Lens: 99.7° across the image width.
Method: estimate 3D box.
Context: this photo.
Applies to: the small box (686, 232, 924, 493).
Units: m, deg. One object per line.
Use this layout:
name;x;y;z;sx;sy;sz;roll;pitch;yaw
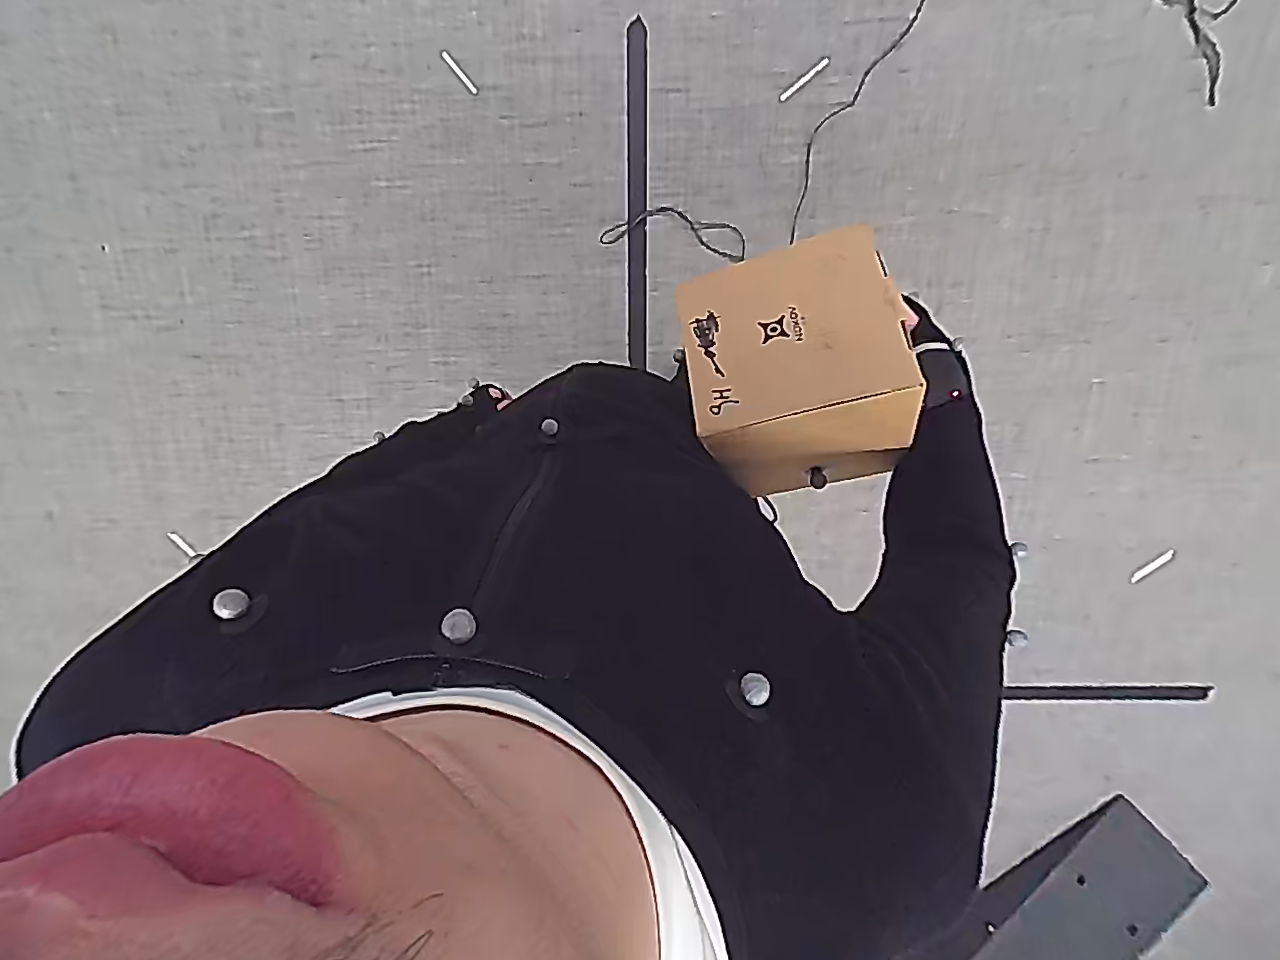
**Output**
small box;0.157;-0.101;0.538;0.179;0.176;0.168;-12;65;16
